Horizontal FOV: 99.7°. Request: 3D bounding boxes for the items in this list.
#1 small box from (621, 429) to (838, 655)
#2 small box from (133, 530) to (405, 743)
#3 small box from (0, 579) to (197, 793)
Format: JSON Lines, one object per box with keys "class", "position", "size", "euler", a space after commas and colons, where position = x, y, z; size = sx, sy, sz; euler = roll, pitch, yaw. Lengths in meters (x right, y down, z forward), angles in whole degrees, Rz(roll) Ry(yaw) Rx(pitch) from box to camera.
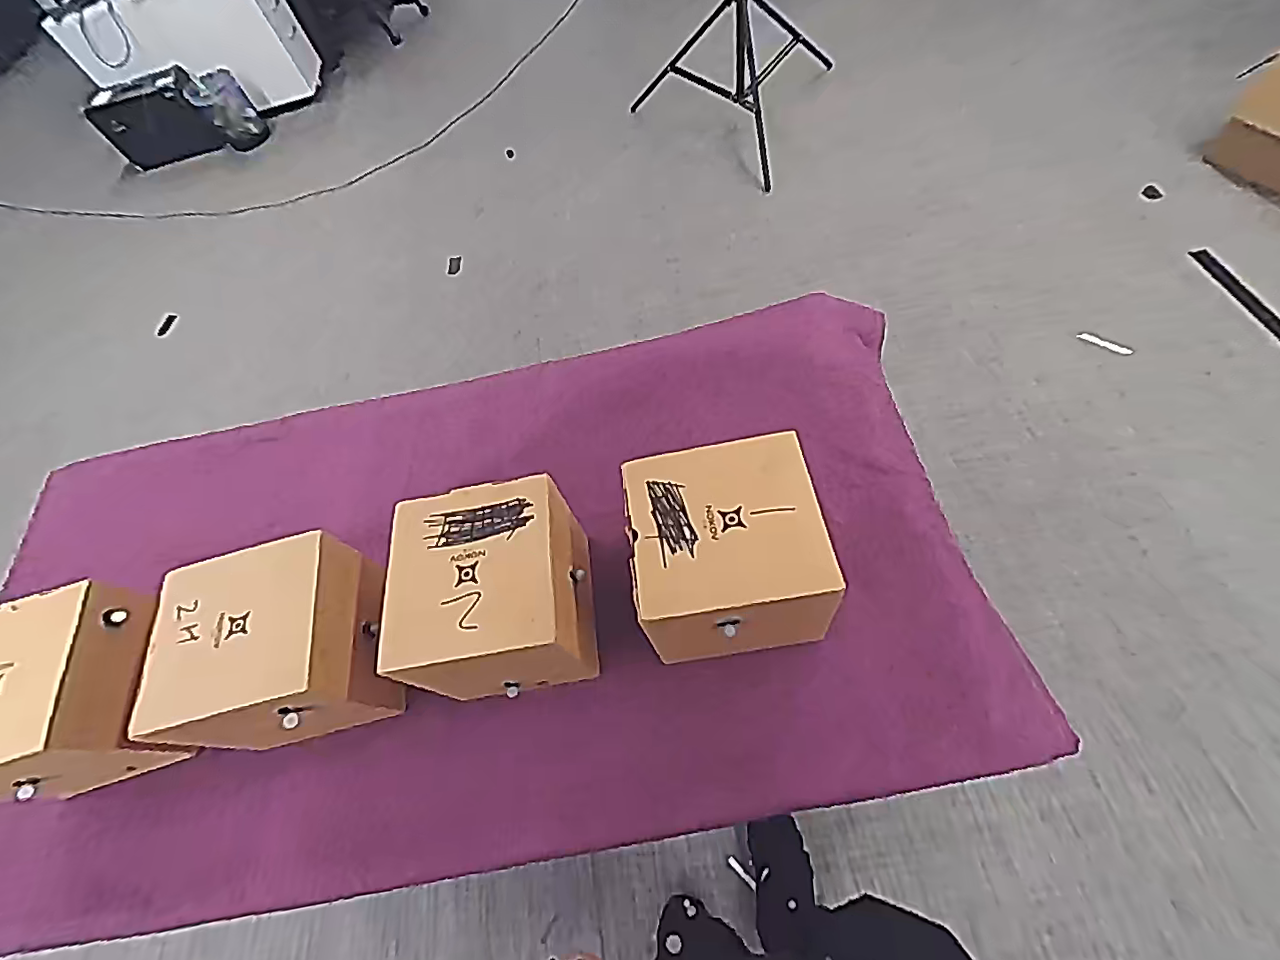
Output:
{"class": "small box", "position": [0.087, 0.073, 0.562], "size": [0.179, 0.176, 0.168], "euler": [-10, 59, 5]}
{"class": "small box", "position": [-0.381, 0.179, 0.596], "size": [0.179, 0.176, 0.168], "euler": [-16, 59, 2]}
{"class": "small box", "position": [-0.630, 0.239, 0.613], "size": [0.168, 0.176, 0.179], "euler": [-18, 59, 0]}
